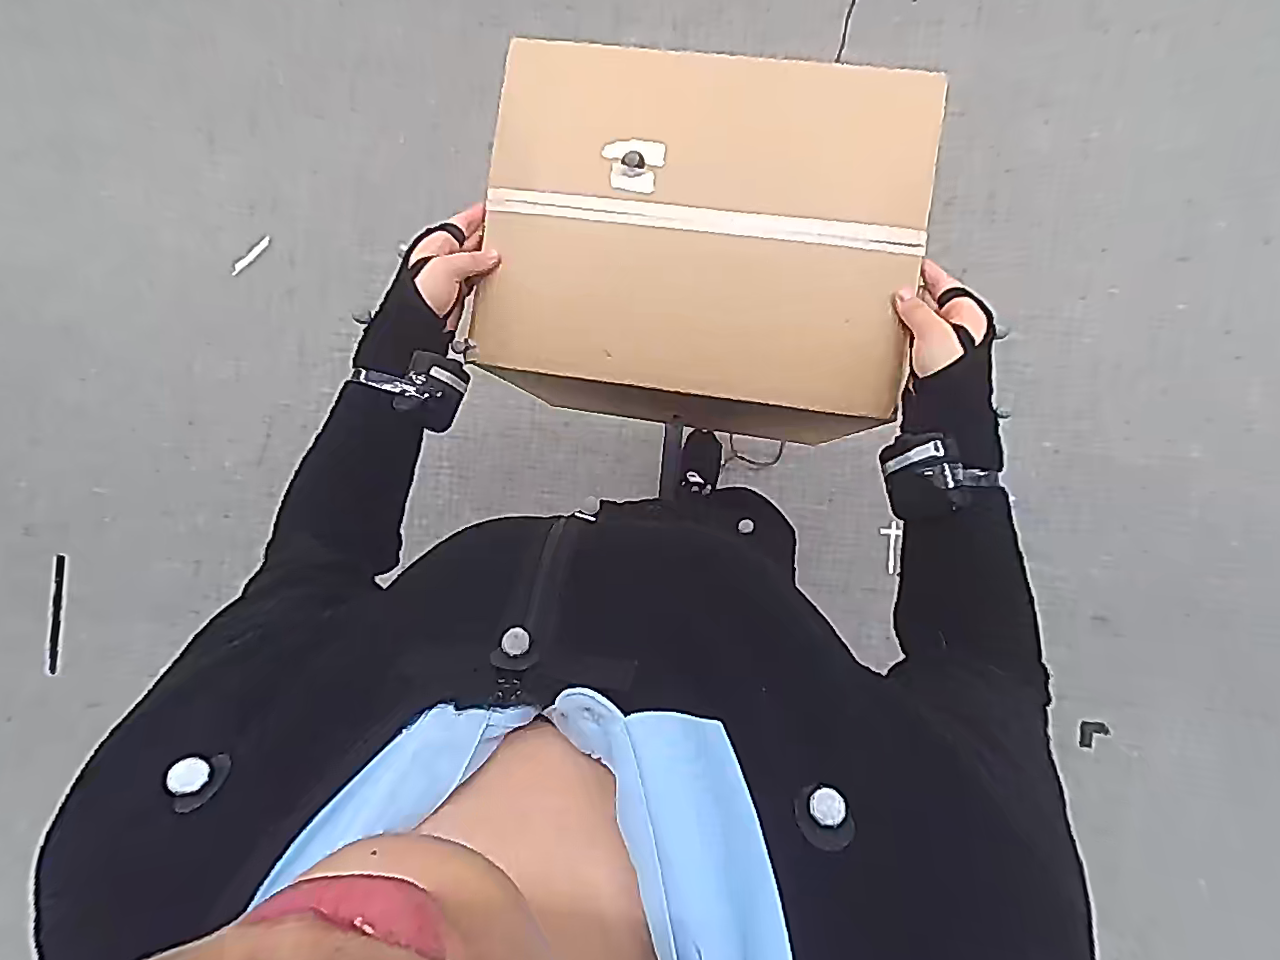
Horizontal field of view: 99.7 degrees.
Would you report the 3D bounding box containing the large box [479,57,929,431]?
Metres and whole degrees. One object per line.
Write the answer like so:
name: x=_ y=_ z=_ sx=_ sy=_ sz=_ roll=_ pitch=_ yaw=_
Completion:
large box: x=0.070 y=-0.242 z=0.661 sx=0.408 sy=0.320 sz=0.320 roll=8 pitch=89 yaw=6
